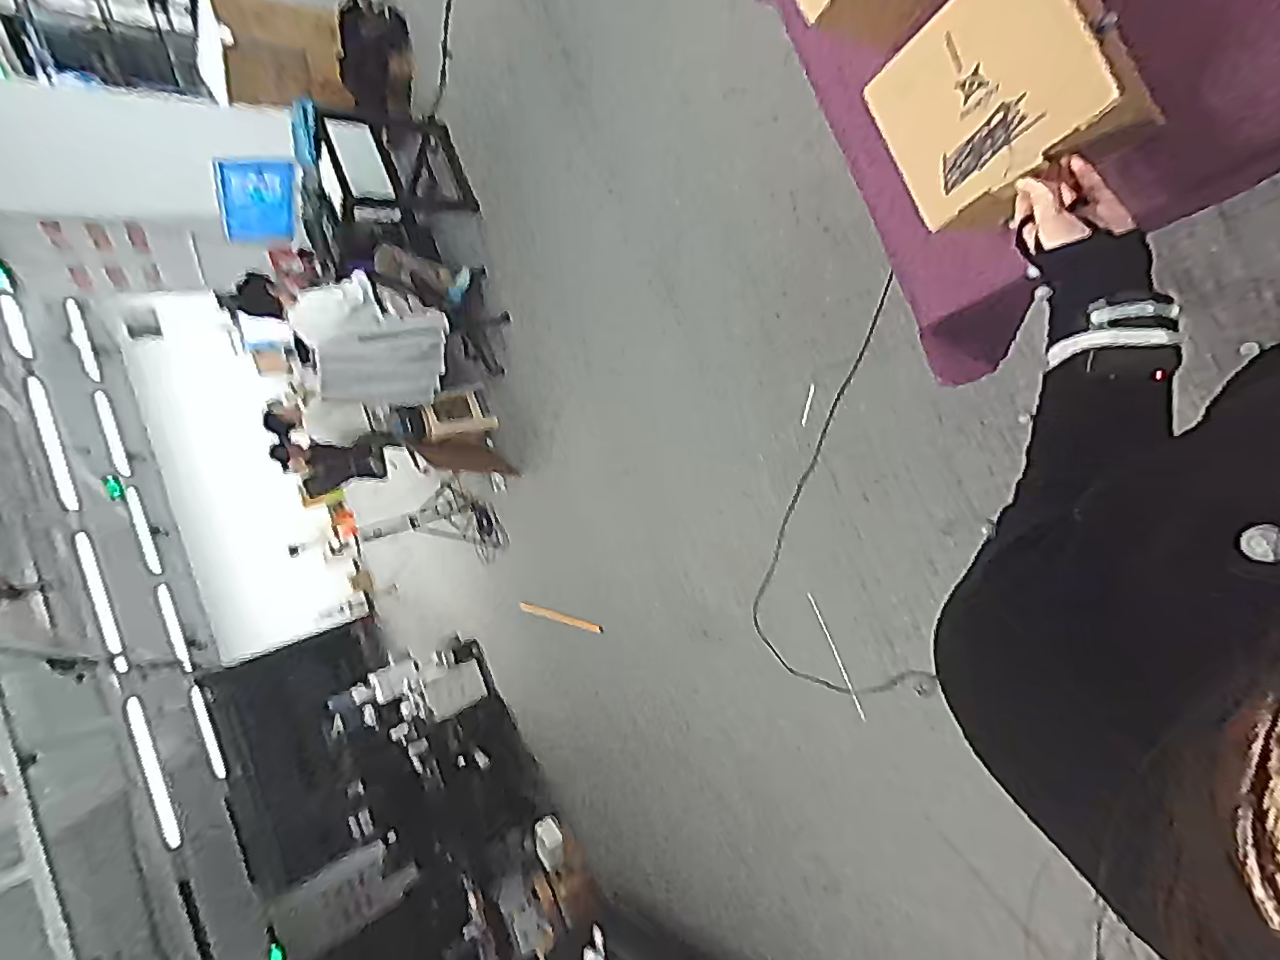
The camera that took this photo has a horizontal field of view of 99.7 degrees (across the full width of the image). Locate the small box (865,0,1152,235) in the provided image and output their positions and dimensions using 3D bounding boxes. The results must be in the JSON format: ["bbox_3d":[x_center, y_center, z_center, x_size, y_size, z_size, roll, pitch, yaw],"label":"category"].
[{"bbox_3d":[0.378,-0.381,0.559,0.168,0.176,0.179,-30,79,53],"label":"small box"}]

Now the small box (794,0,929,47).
[{"bbox_3d":[0.263,-0.631,0.604,0.168,0.176,0.179,-35,78,53],"label":"small box"}]
